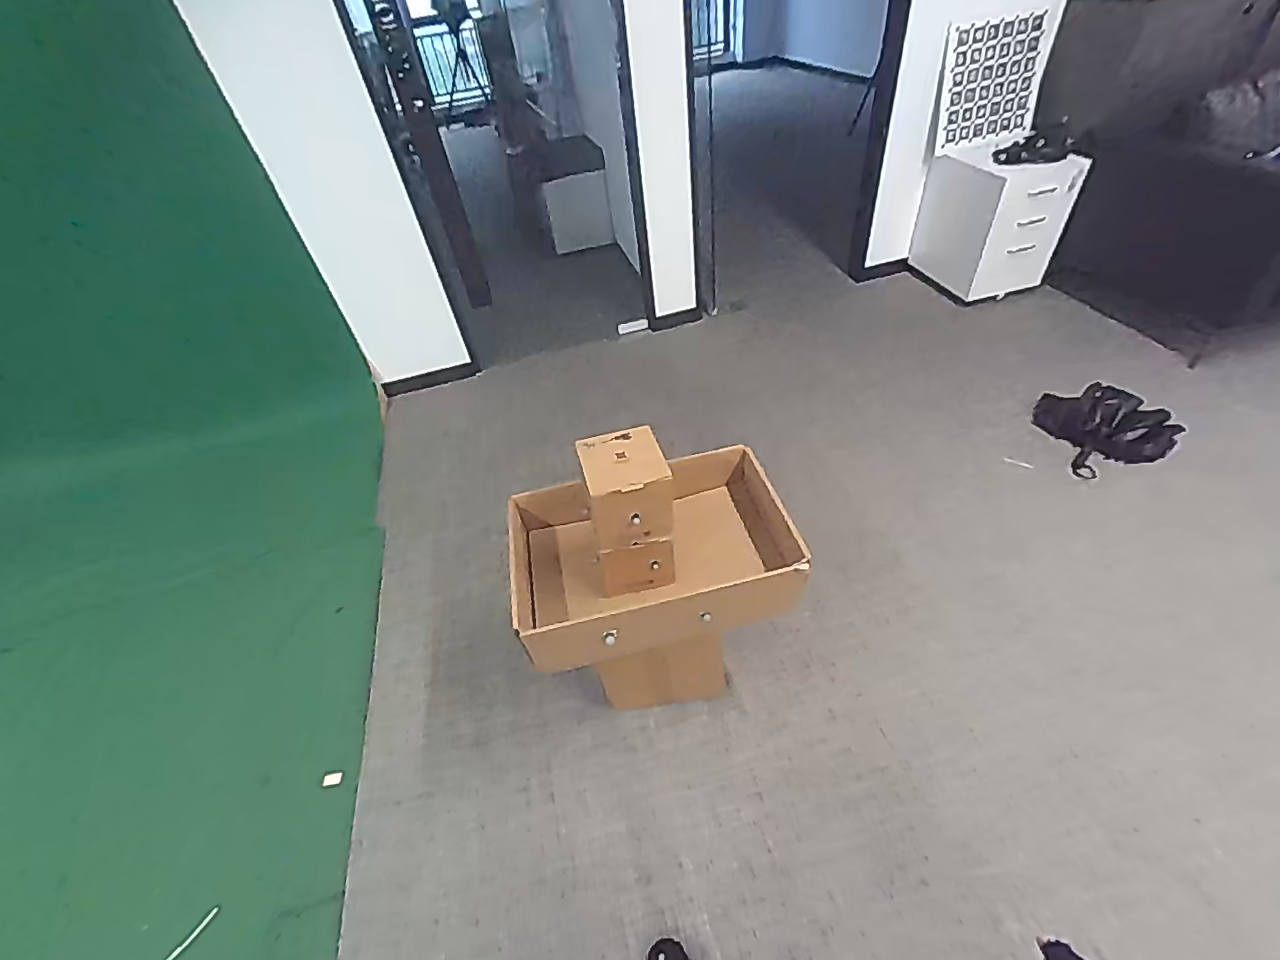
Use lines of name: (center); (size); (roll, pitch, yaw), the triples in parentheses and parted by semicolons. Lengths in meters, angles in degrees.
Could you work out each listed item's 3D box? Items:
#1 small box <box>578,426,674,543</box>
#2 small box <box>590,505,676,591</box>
small box: (-0.027, 0.015, 1.150); (0.168, 0.176, 0.179); (-13, 45, -8)
small box: (-0.016, 0.139, 1.258); (0.168, 0.176, 0.179); (-11, 42, -6)
